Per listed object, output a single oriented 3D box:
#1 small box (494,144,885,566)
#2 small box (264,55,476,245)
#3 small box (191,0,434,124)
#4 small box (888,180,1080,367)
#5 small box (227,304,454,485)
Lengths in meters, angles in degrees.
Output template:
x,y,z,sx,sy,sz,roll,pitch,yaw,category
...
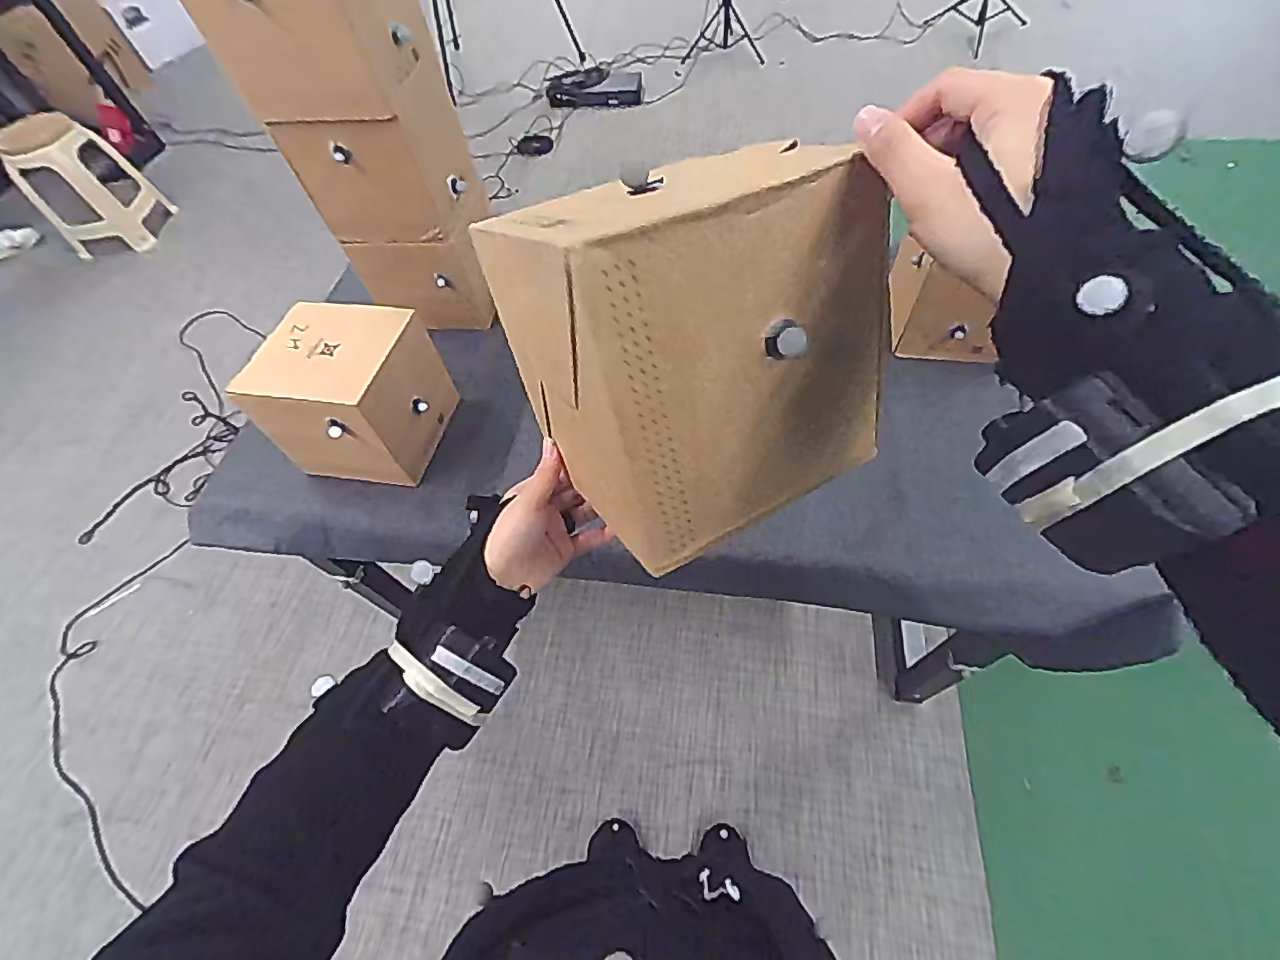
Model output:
x,y,z,sx,sy,sz,roll,pitch,yaw,category
0.023,-0.081,0.333,0.176,0.179,0.168,-24,33,-16,small box
-0.350,-0.445,0.741,0.179,0.176,0.168,2,61,5,small box
-0.361,-0.521,0.596,0.179,0.176,0.168,4,61,6,small box
0.455,-0.284,0.751,0.168,0.176,0.179,7,61,10,small box
-0.376,-0.109,0.722,0.179,0.176,0.168,6,56,9,small box
